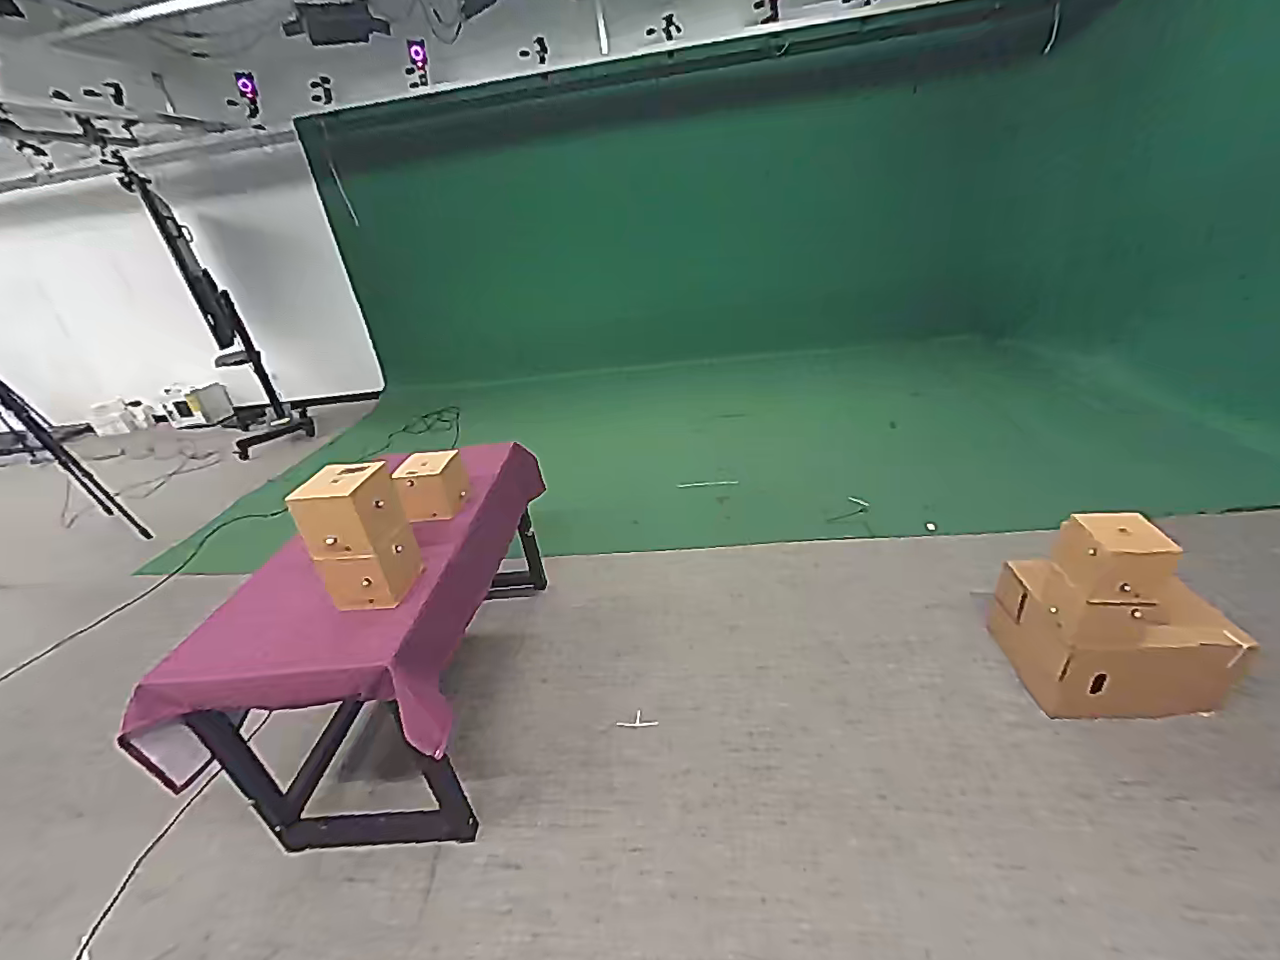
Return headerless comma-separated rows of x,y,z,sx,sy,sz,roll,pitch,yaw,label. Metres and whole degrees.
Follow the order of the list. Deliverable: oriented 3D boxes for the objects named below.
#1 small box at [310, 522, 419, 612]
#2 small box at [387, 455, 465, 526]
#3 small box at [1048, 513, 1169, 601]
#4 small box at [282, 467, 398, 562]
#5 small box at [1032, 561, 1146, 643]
-0.704,0.230,1.408,0.168,0.176,0.179,-4,27,7,small box
-0.696,0.034,1.780,0.168,0.176,0.179,-5,27,7,small box
1.251,0.205,1.463,0.168,0.176,0.179,-2,30,9,small box
-0.728,0.084,1.337,0.168,0.176,0.179,-4,28,7,small box
1.267,0.347,1.542,0.179,0.176,0.168,-3,28,8,small box
